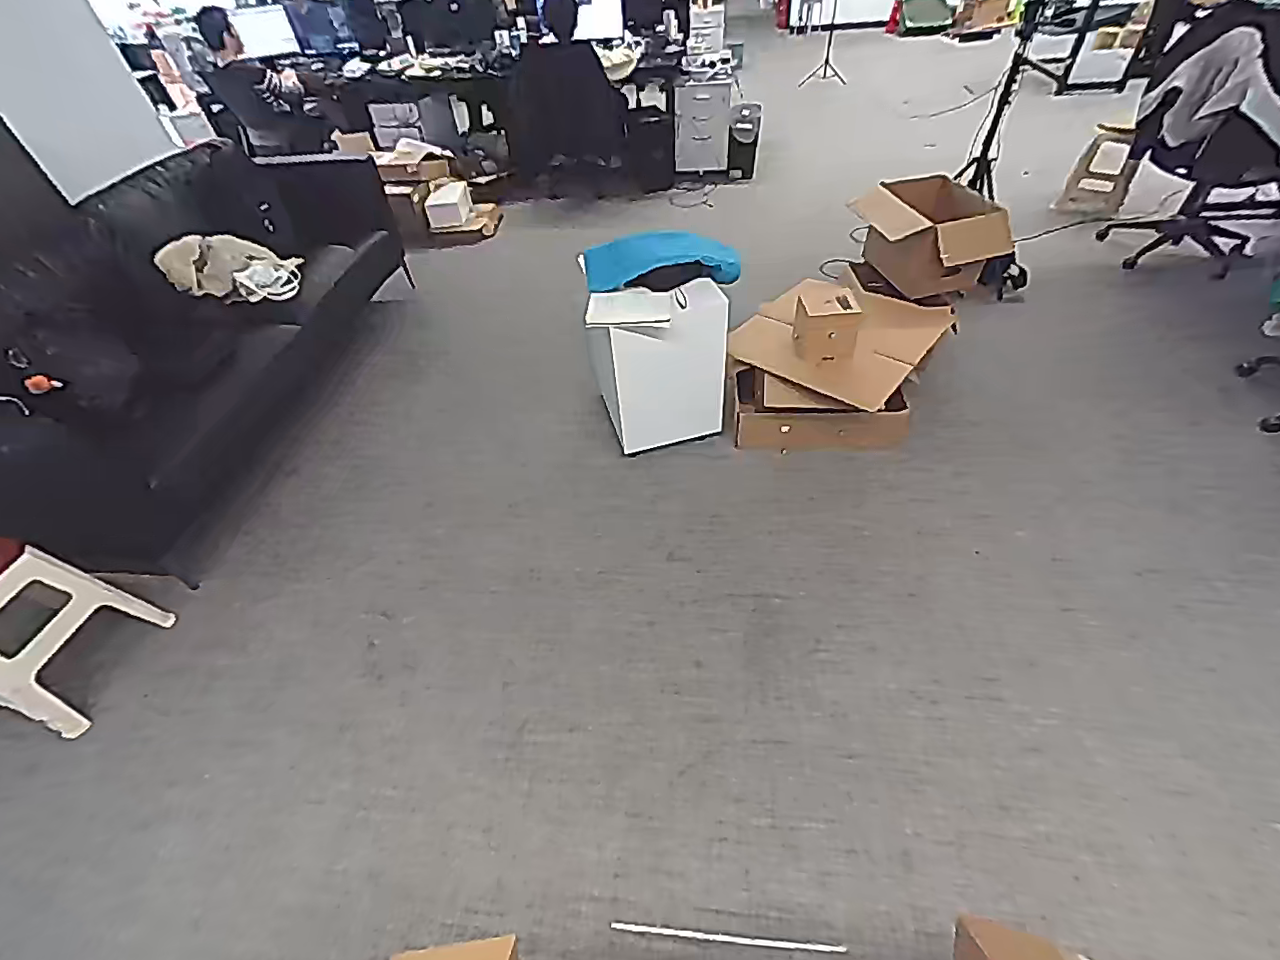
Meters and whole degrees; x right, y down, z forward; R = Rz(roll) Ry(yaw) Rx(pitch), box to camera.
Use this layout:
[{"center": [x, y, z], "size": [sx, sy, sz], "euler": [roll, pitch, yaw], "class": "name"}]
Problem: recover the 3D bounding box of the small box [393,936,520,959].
[{"center": [-0.232, 0.687, 0.623], "size": [0.168, 0.179, 0.176], "euler": [-8, 83, -2], "class": "small box"}]
